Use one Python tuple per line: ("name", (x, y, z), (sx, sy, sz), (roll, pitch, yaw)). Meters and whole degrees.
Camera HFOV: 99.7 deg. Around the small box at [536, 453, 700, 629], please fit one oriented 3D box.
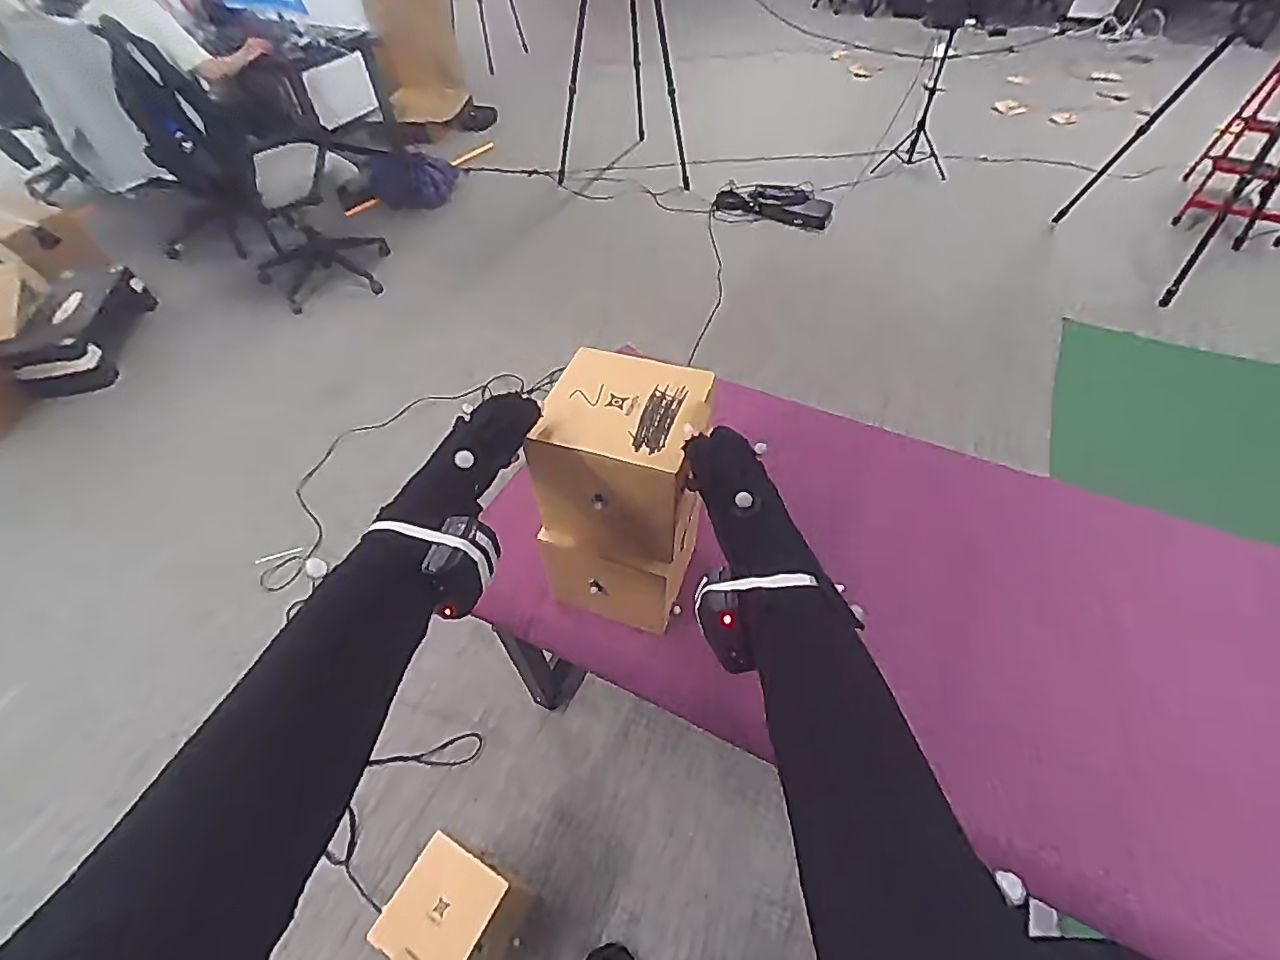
("small box", (-0.025, 0.093, 0.779), (0.179, 0.176, 0.168), (16, 52, 13))
